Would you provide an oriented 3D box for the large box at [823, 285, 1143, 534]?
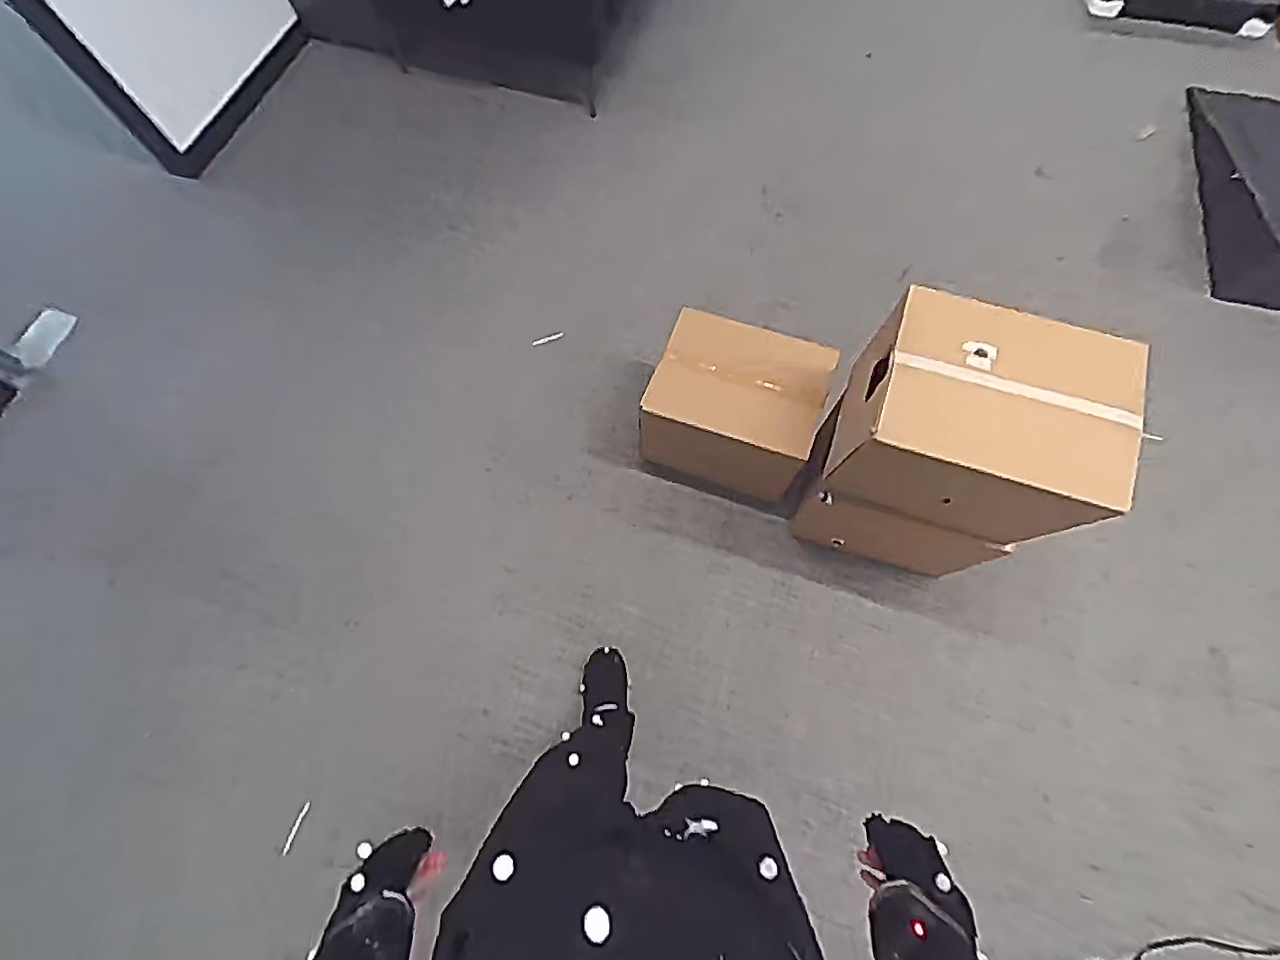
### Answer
[{"bbox_3d":[0.620,-0.114,1.040,0.408,0.320,0.320,17,76,8],"label":"large box"}]
